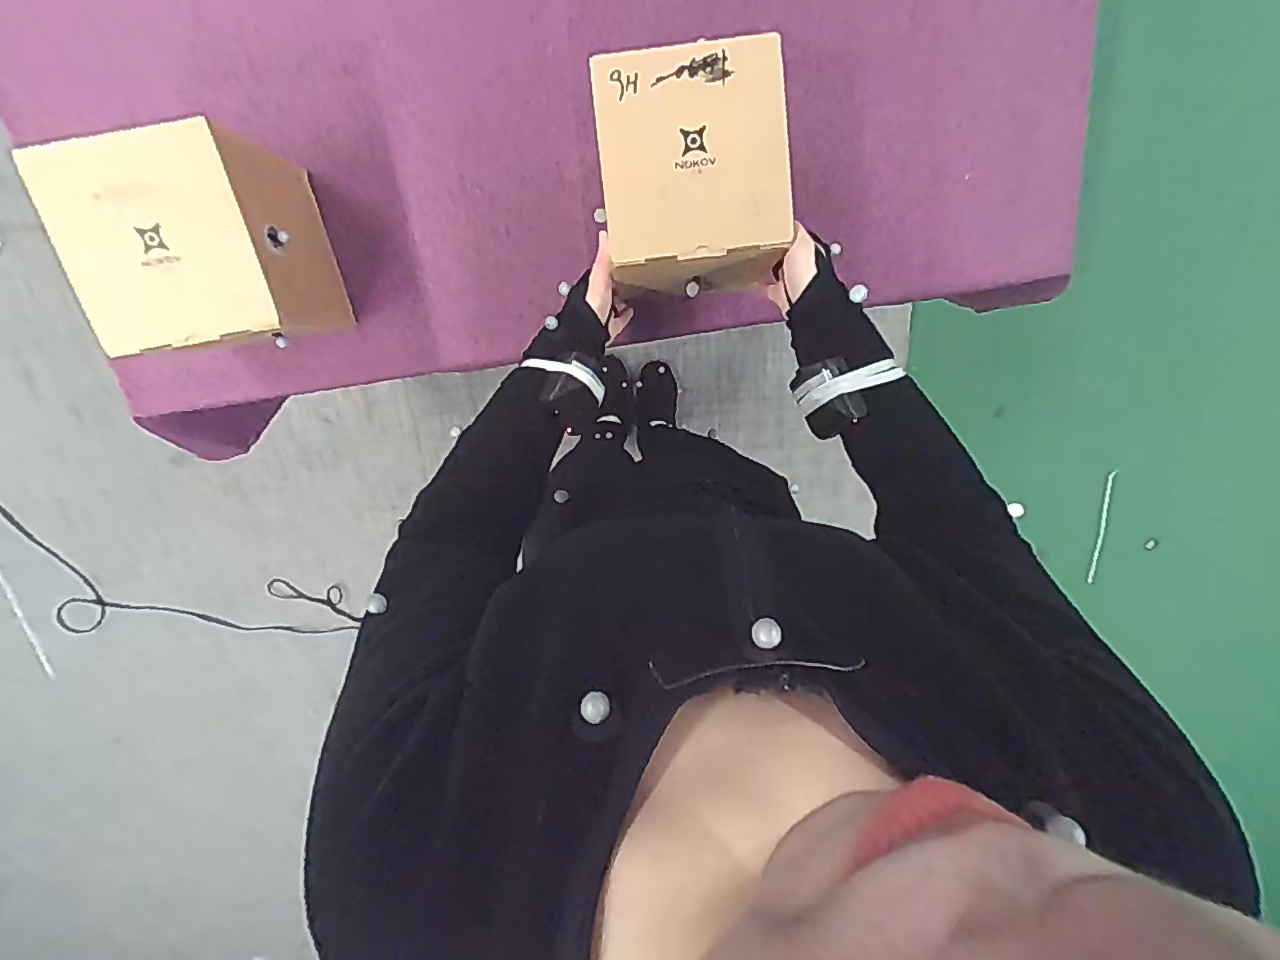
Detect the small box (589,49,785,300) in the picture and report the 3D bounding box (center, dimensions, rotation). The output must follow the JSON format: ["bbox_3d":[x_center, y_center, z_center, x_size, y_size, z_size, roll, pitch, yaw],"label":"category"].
[{"bbox_3d":[0.045,-0.290,0.557,0.168,0.176,0.179,-6,98,1],"label":"small box"}]

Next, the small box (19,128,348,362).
[{"bbox_3d":[-0.435,-0.228,0.557,0.168,0.176,0.179,-10,107,-2],"label":"small box"}]
